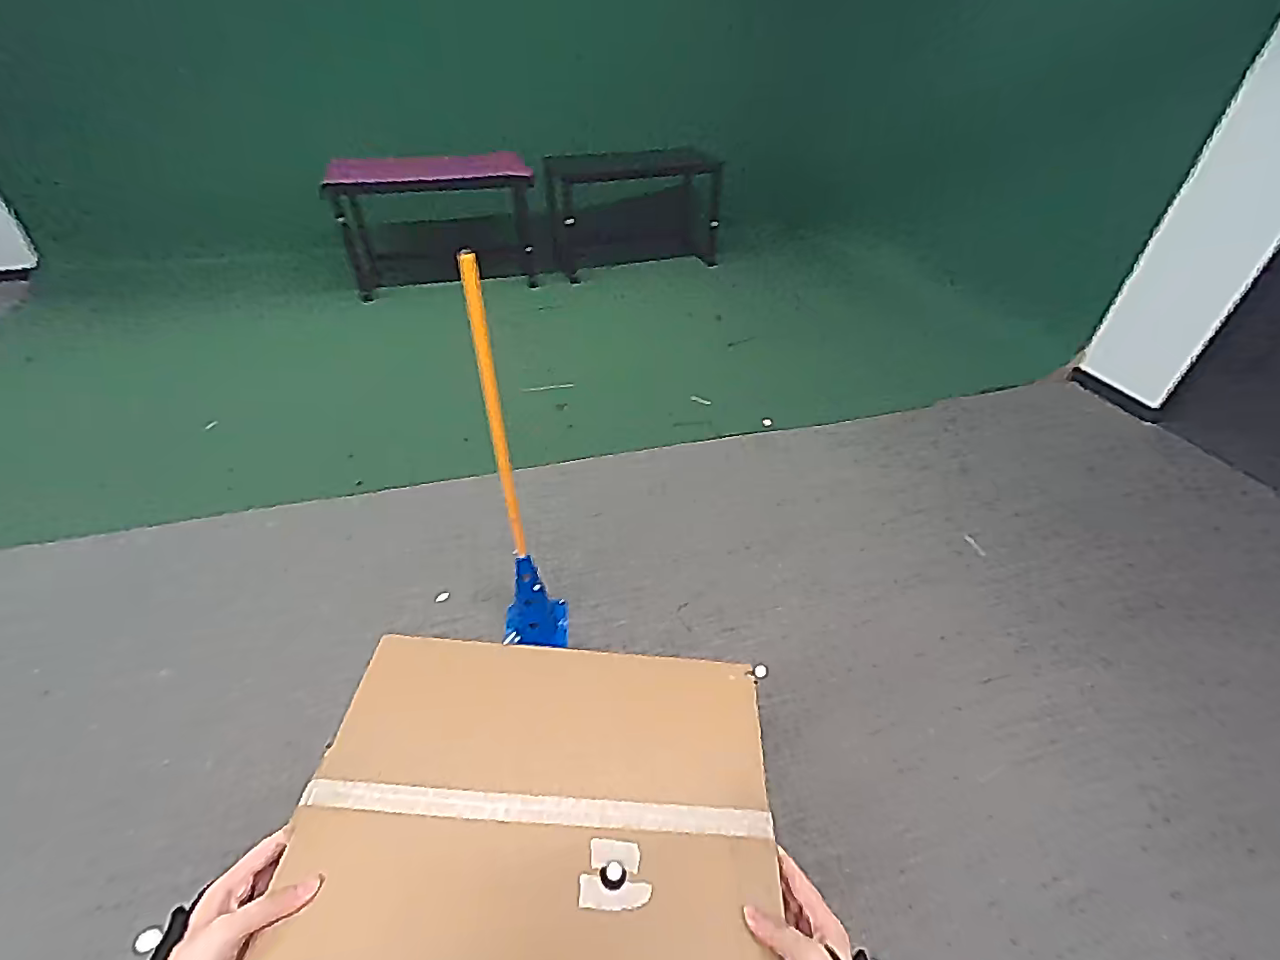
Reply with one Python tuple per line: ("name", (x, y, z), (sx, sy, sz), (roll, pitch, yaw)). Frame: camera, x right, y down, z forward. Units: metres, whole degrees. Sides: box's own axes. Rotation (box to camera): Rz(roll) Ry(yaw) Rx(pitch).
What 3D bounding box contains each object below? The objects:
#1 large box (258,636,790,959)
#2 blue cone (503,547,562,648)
("large box", (-0.092, 0.400, 0.584), (0.408, 0.320, 0.320), (6, 42, -1))
("blue cone", (-0.350, 0.357, 1.668), (0.193, 0.380, 0.192), (-3, 40, -5))
